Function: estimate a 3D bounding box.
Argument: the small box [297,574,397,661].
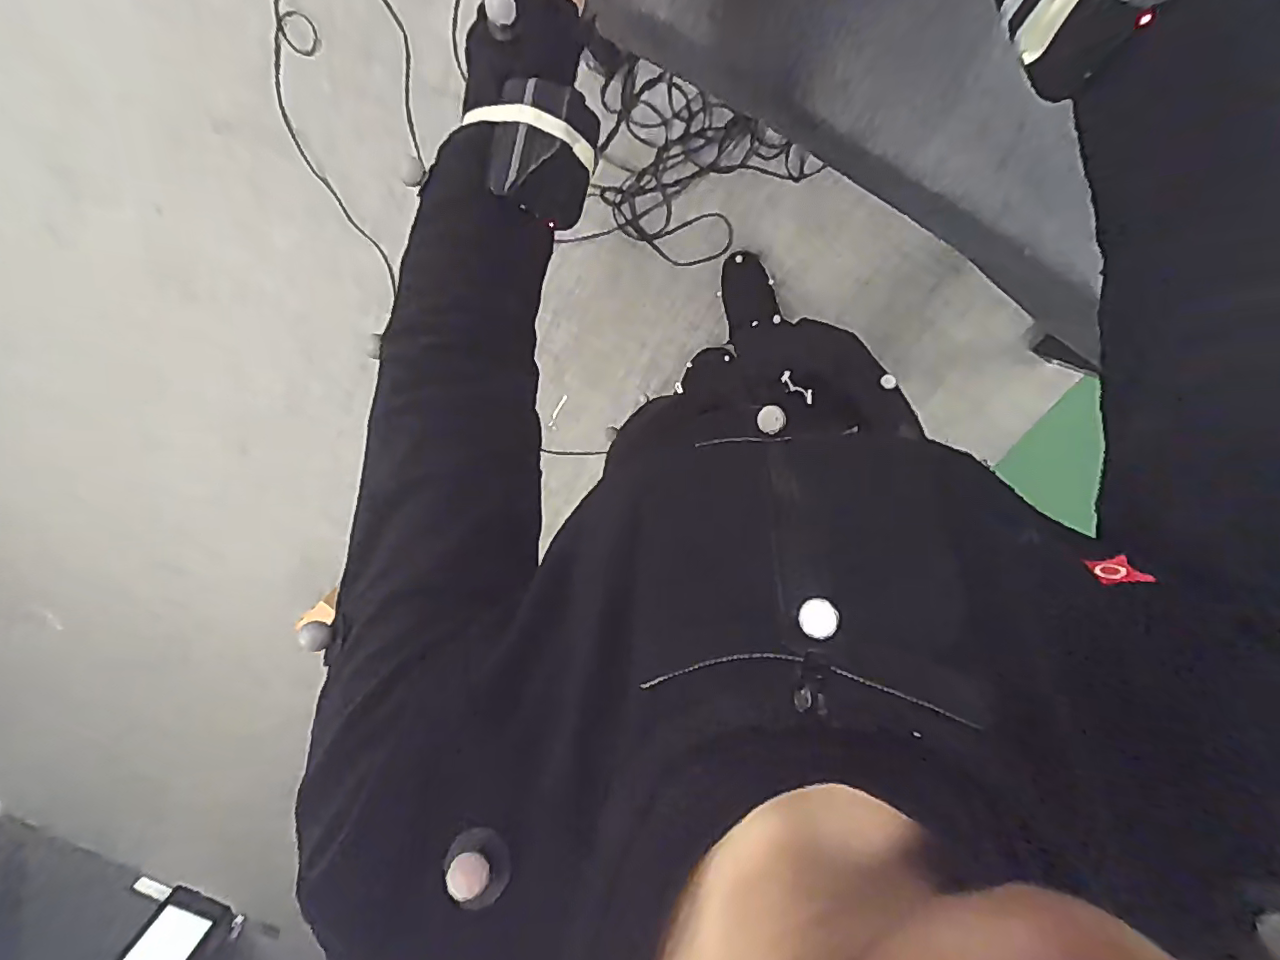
[{"bbox_3d":[-0.899,0.414,1.673,0.168,0.176,0.179,-40,104,22],"label":"small box"}]
